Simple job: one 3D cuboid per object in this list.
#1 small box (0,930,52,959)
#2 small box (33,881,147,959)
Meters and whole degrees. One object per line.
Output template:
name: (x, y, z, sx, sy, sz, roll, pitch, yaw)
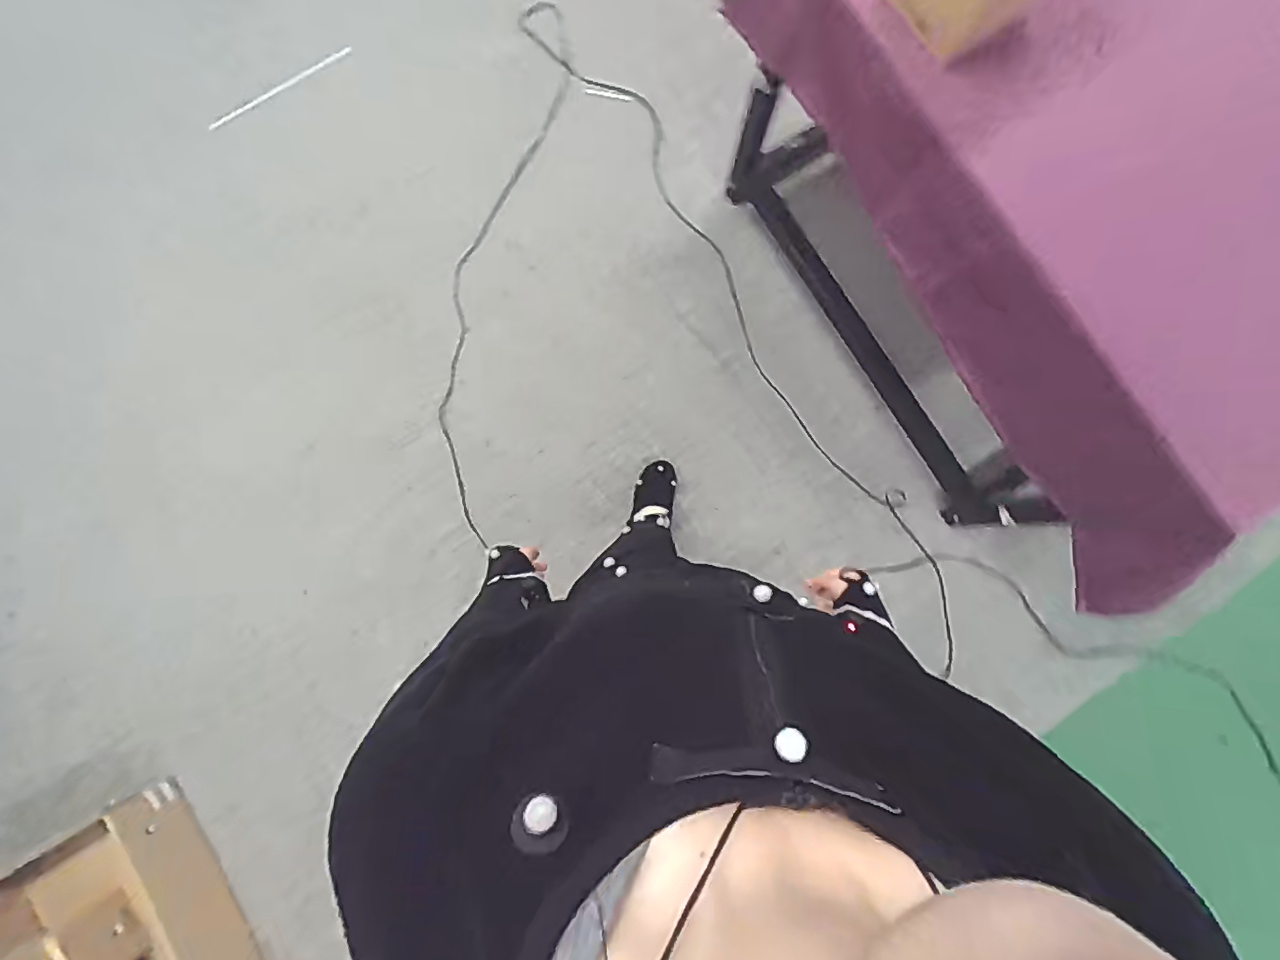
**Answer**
small box: (-1.357, 1.097, 1.110, 0.168, 0.176, 0.179, -34, 87, -4)
small box: (-1.340, 1.109, 1.273, 0.179, 0.176, 0.168, -30, 87, -4)
